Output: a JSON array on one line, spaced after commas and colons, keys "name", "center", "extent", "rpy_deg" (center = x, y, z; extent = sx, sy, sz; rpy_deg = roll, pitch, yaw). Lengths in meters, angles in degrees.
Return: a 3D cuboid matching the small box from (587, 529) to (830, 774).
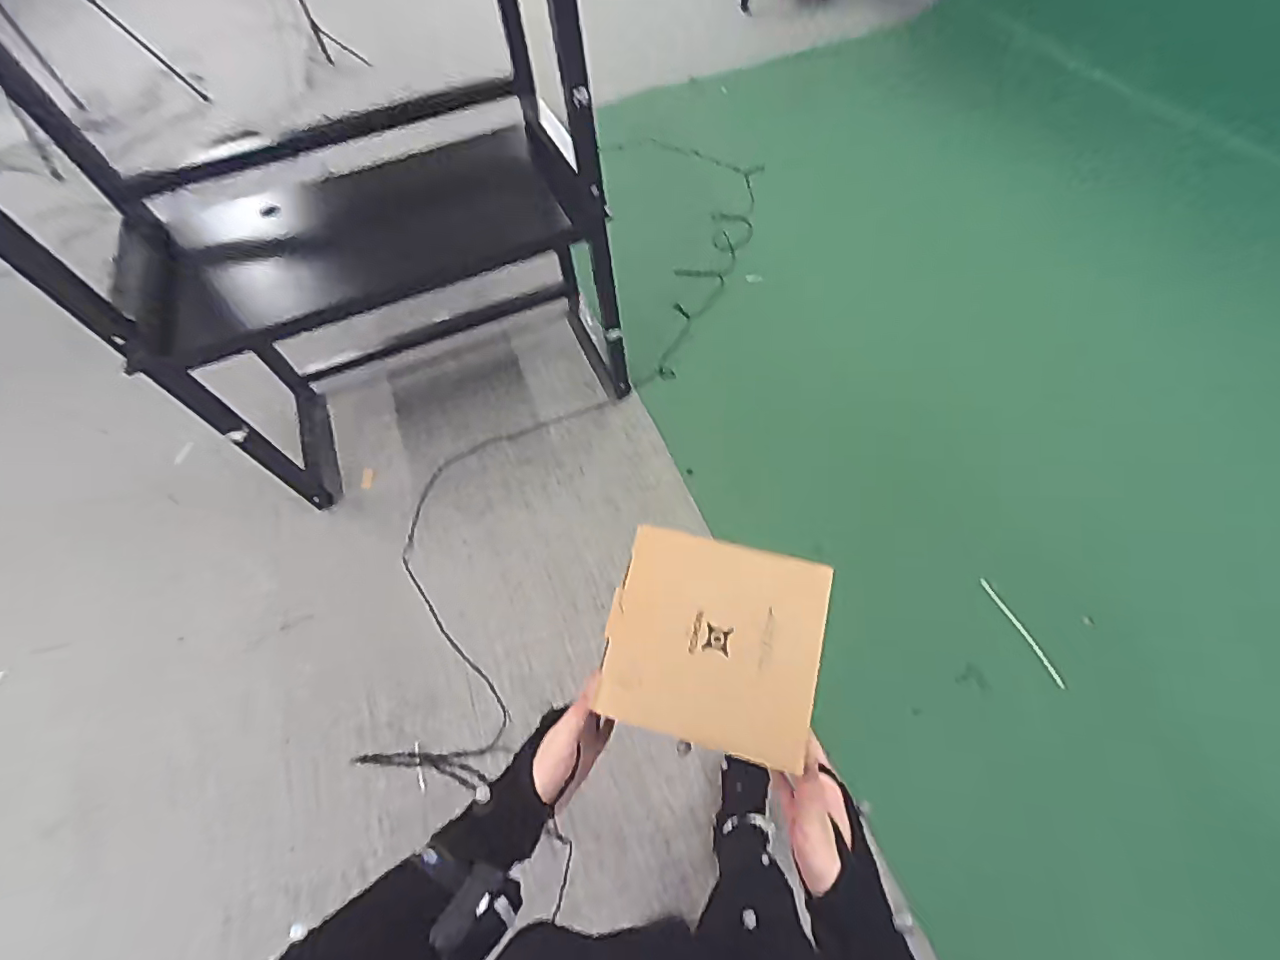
[{"name": "small box", "center": [0.069, 0.164, 0.528], "extent": [0.179, 0.176, 0.168], "rpy_deg": [12, 72, 11]}]
